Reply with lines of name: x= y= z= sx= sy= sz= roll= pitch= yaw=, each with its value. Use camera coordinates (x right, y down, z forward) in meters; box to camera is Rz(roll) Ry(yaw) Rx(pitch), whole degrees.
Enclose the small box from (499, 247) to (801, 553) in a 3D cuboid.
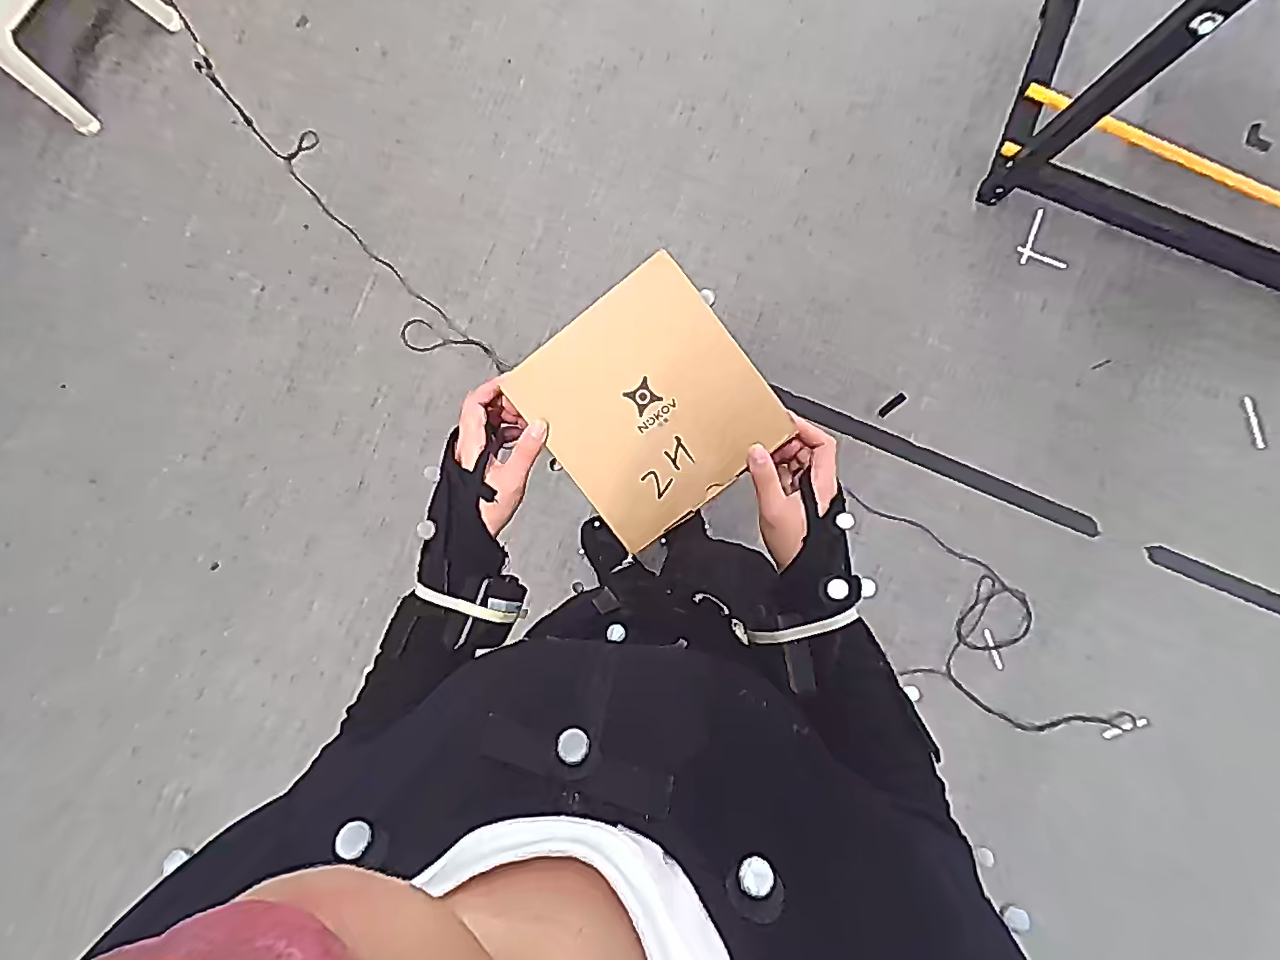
small box: x=0.009 y=-0.065 z=0.485 sx=0.168 sy=0.176 sz=0.179 roll=-37 pitch=94 yaw=6
